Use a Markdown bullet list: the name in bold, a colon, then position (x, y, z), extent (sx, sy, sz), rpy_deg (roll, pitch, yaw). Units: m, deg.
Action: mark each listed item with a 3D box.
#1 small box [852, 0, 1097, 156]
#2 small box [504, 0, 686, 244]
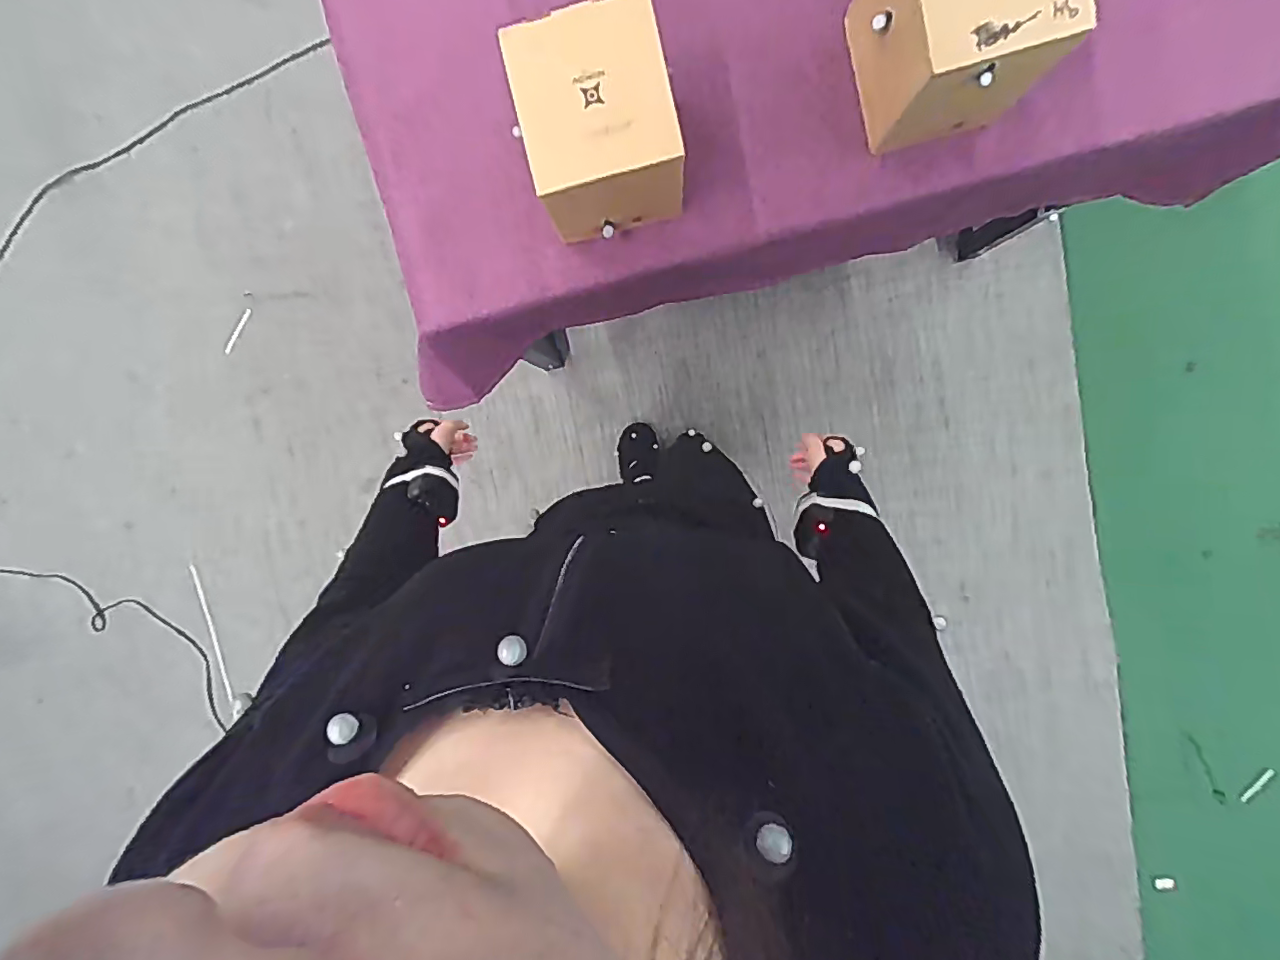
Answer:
- **small box**: position (0.362, -0.517, 0.618), extent (0.168, 0.176, 0.179), rpy_deg (-13, 94, 5)
- **small box**: position (-0.044, -0.414, 0.650), extent (0.168, 0.176, 0.179), rpy_deg (-12, 96, 5)
